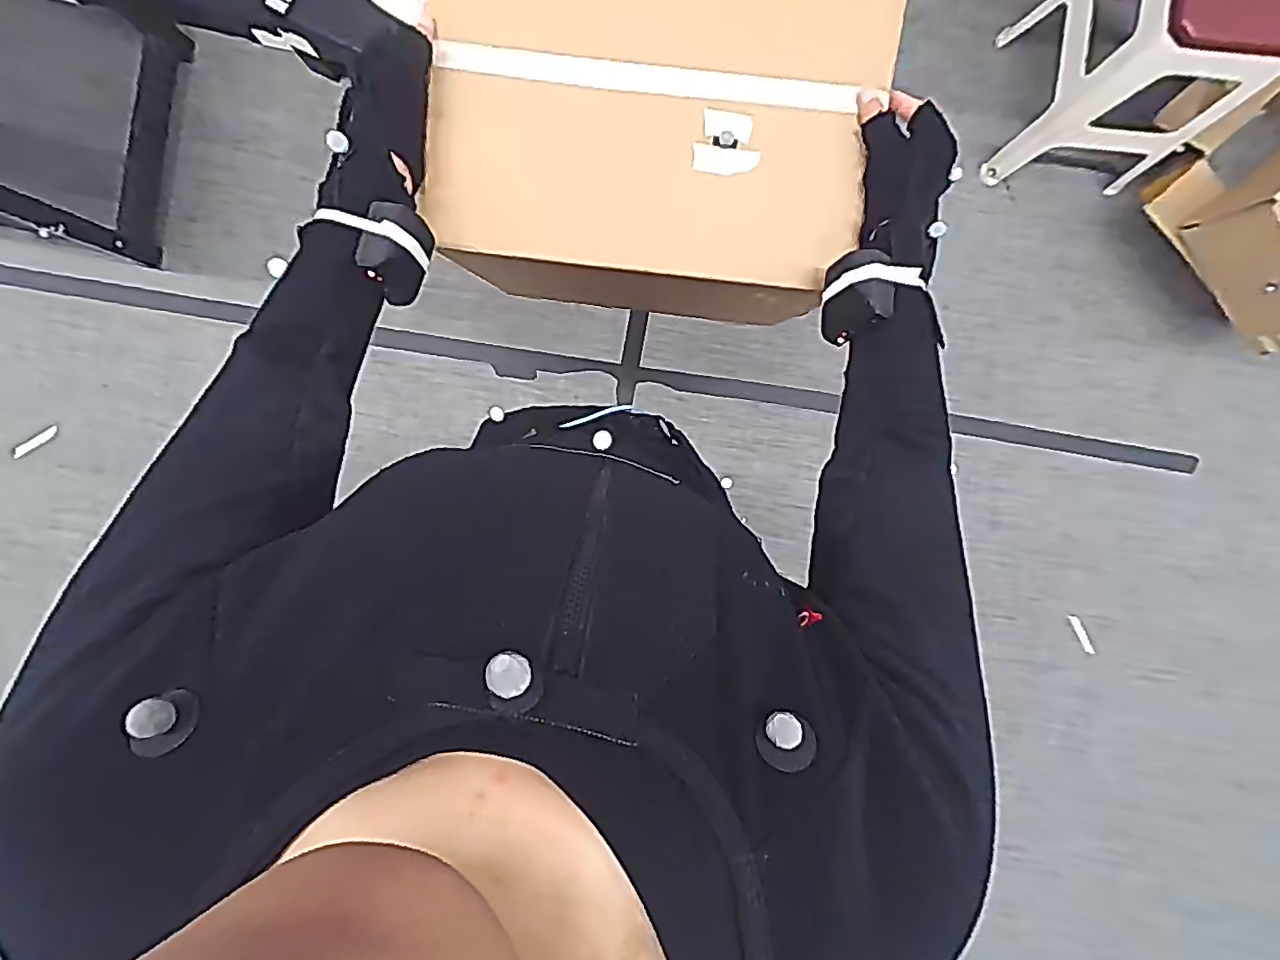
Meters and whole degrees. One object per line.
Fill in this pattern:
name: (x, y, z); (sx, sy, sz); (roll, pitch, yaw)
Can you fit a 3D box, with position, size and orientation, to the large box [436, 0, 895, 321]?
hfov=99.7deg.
large box: (0.016, -0.377, 0.631); (0.408, 0.320, 0.320); (6, 101, -1)
